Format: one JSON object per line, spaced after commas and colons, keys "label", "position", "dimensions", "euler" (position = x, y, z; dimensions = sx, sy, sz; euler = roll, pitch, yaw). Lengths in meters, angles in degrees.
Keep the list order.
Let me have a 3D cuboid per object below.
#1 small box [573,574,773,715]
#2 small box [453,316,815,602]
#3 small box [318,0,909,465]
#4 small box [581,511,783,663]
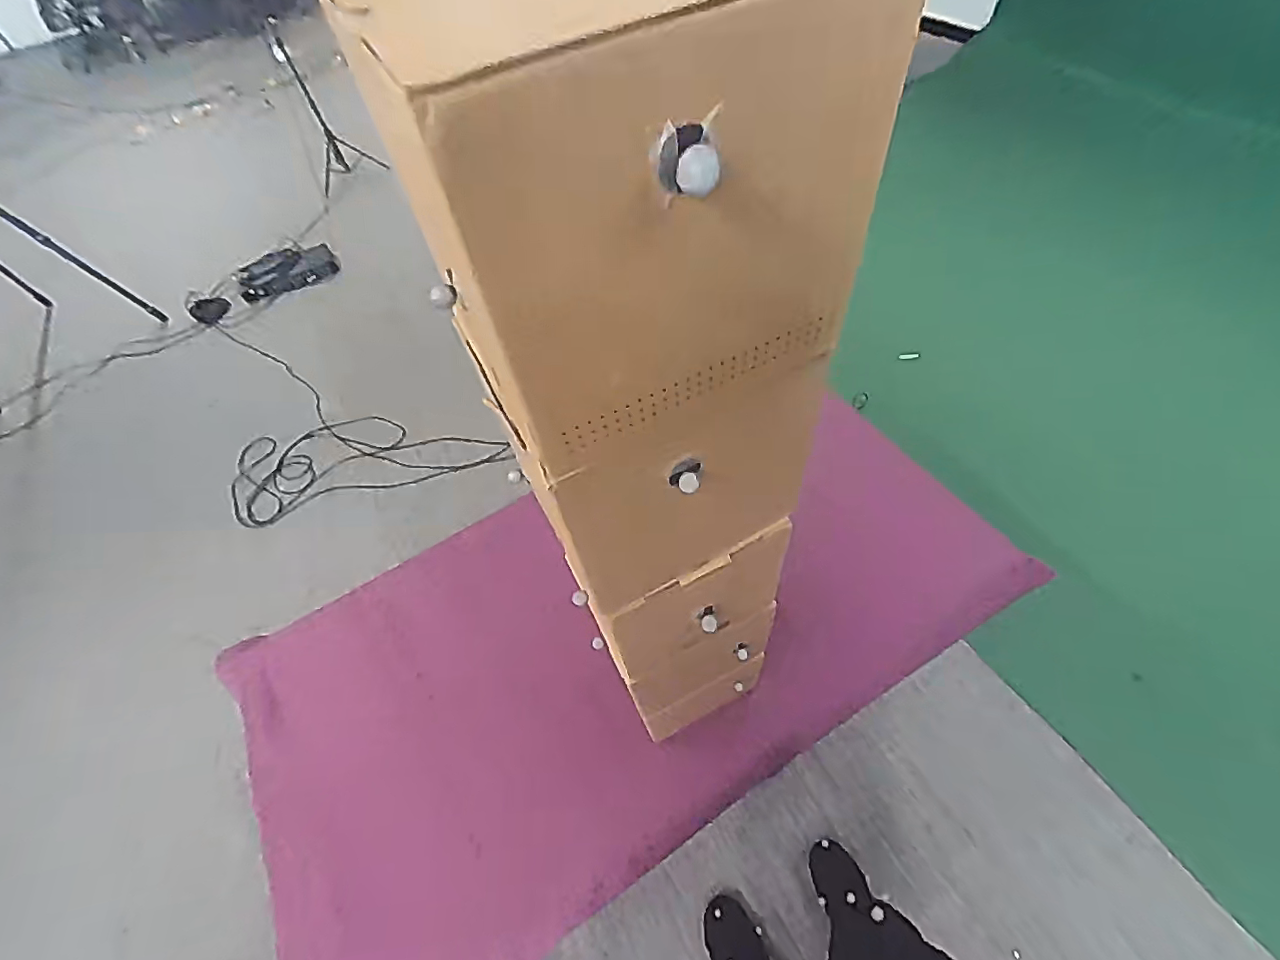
{"label": "small box", "position": [0.034, 0.154, 0.652], "dimensions": [0.179, 0.176, 0.168], "euler": [-25, 56, -10]}
{"label": "small box", "position": [-0.003, -0.041, 0.392], "dimensions": [0.179, 0.176, 0.168], "euler": [-26, 55, -12]}
{"label": "small box", "position": [-0.016, -0.139, 0.263], "dimensions": [0.179, 0.176, 0.168], "euler": [-27, 56, -11]}
{"label": "small box", "position": [0.014, 0.056, 0.523], "dimensions": [0.168, 0.176, 0.179], "euler": [-25, 56, -11]}
